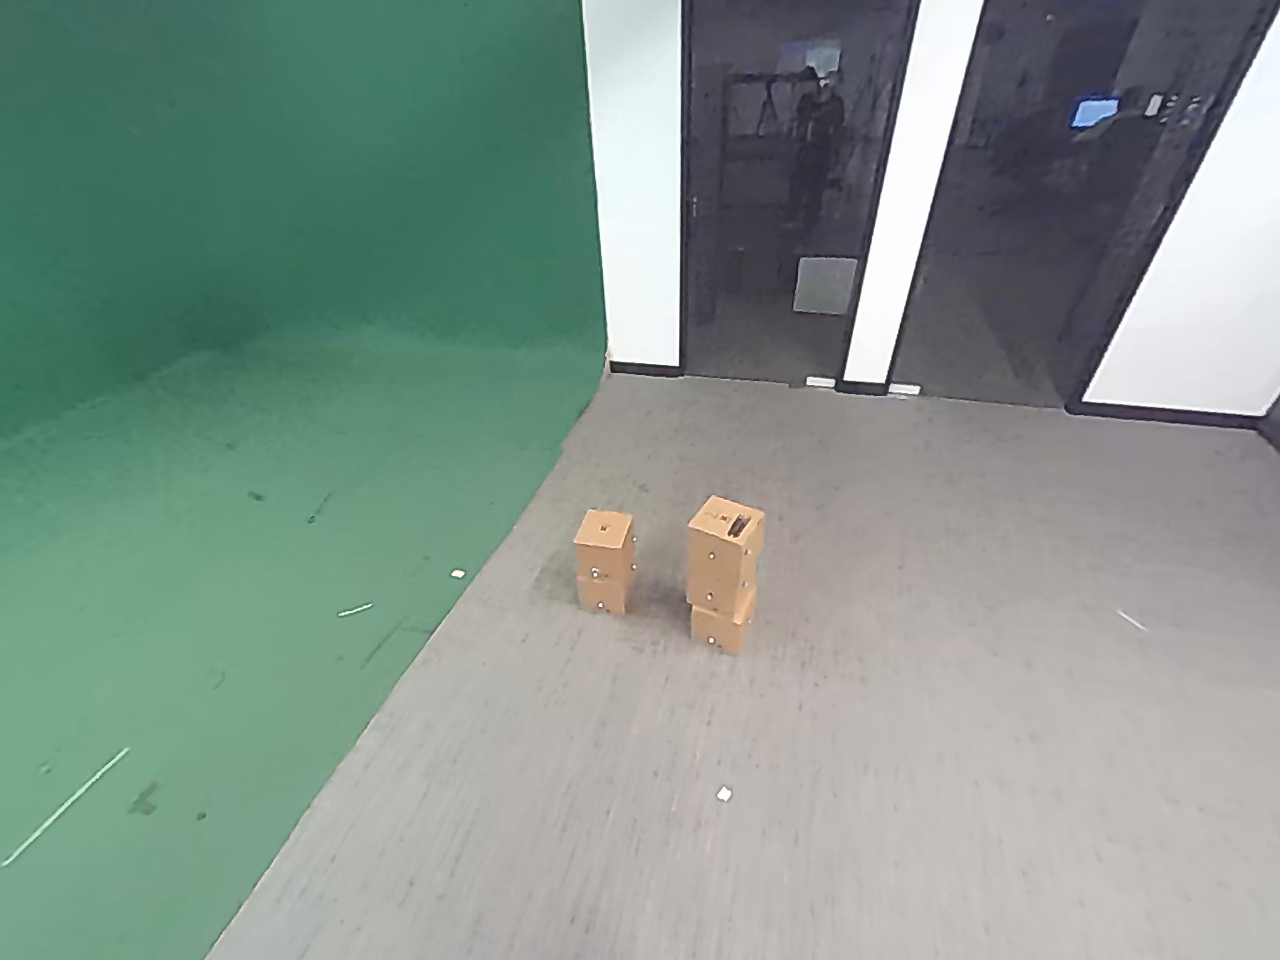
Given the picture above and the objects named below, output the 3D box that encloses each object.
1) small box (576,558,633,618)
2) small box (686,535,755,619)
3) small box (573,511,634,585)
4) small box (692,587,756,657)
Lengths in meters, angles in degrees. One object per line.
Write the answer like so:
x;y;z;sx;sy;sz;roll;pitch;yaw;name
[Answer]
-0.121;0.363;1.938;0.168;0.176;0.179;6;37;11;small box
0.256;0.310;1.717;0.168;0.176;0.179;17;41;25;small box
-0.118;0.230;1.845;0.168;0.176;0.179;5;37;11;small box
0.274;0.451;1.799;0.168;0.176;0.179;15;40;22;small box
